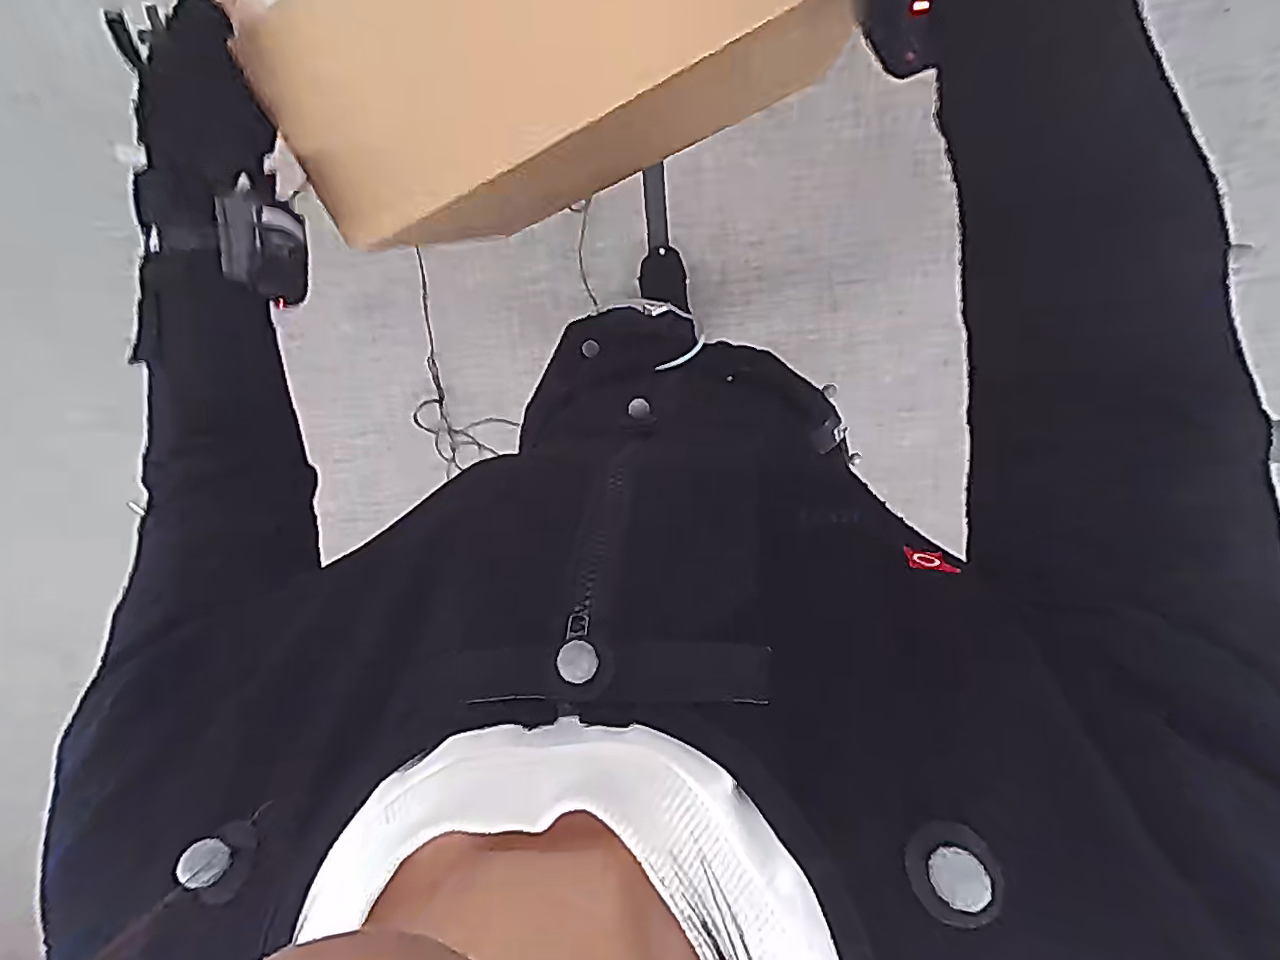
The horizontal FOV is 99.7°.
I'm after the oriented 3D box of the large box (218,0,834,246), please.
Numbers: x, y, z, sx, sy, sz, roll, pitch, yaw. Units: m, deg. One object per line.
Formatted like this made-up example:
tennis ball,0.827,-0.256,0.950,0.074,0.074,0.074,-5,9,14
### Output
large box,-0.084,-0.440,0.450,0.408,0.320,0.320,-20,112,19
